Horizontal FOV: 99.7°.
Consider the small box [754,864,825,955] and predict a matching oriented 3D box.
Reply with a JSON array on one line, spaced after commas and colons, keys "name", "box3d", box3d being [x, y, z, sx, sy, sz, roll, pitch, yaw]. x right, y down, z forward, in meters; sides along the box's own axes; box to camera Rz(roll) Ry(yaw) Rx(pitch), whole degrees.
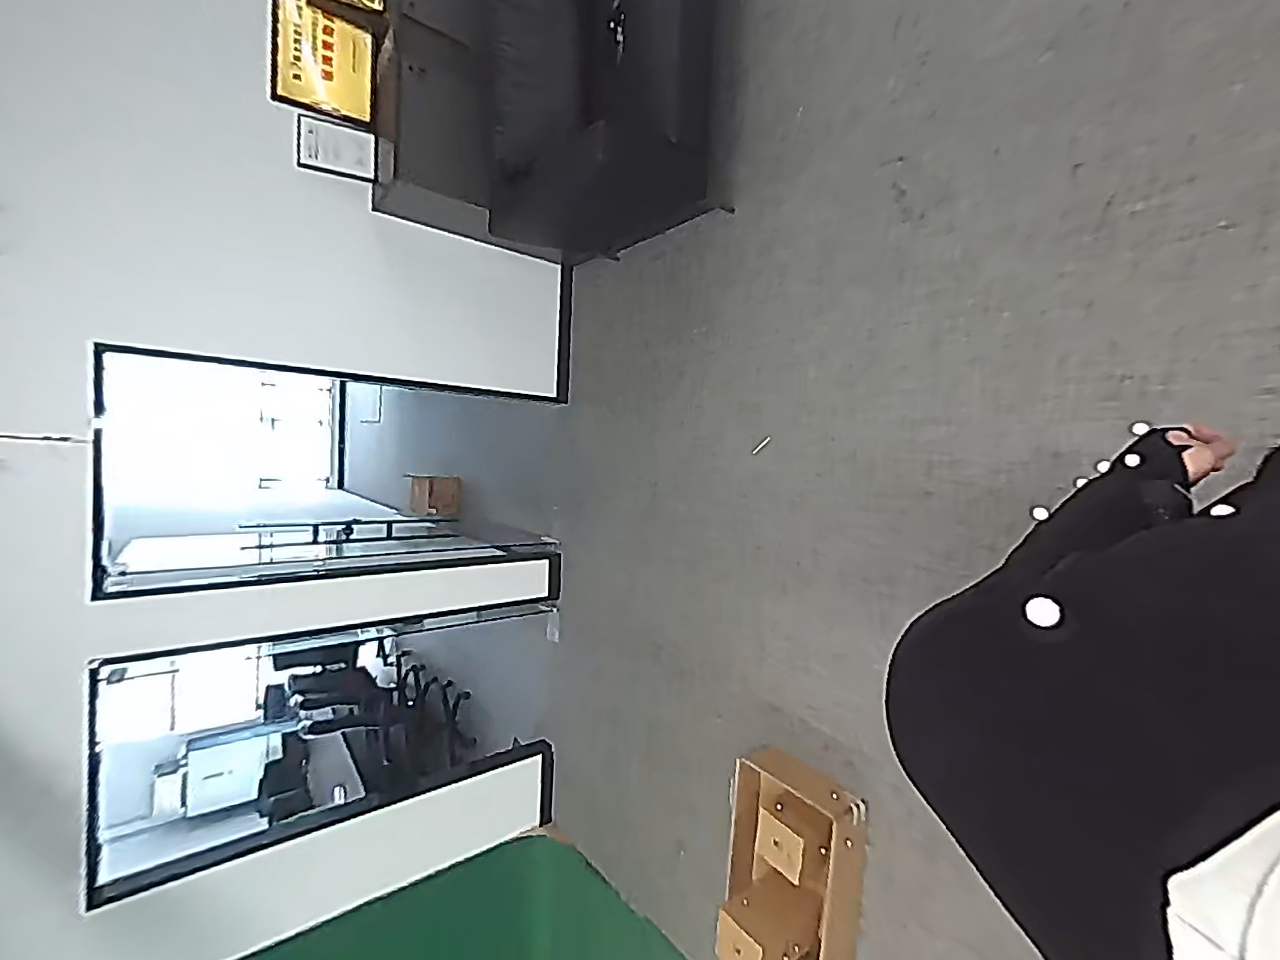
[{"name": "small box", "box3d": [0.503, 1.463, 1.852, 0.179, 0.176, 0.168, 12, 99, 51]}]

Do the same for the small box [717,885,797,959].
[{"name": "small box", "box3d": [0.378, 1.462, 1.747, 0.179, 0.176, 0.168, 11, 98, 50]}]
